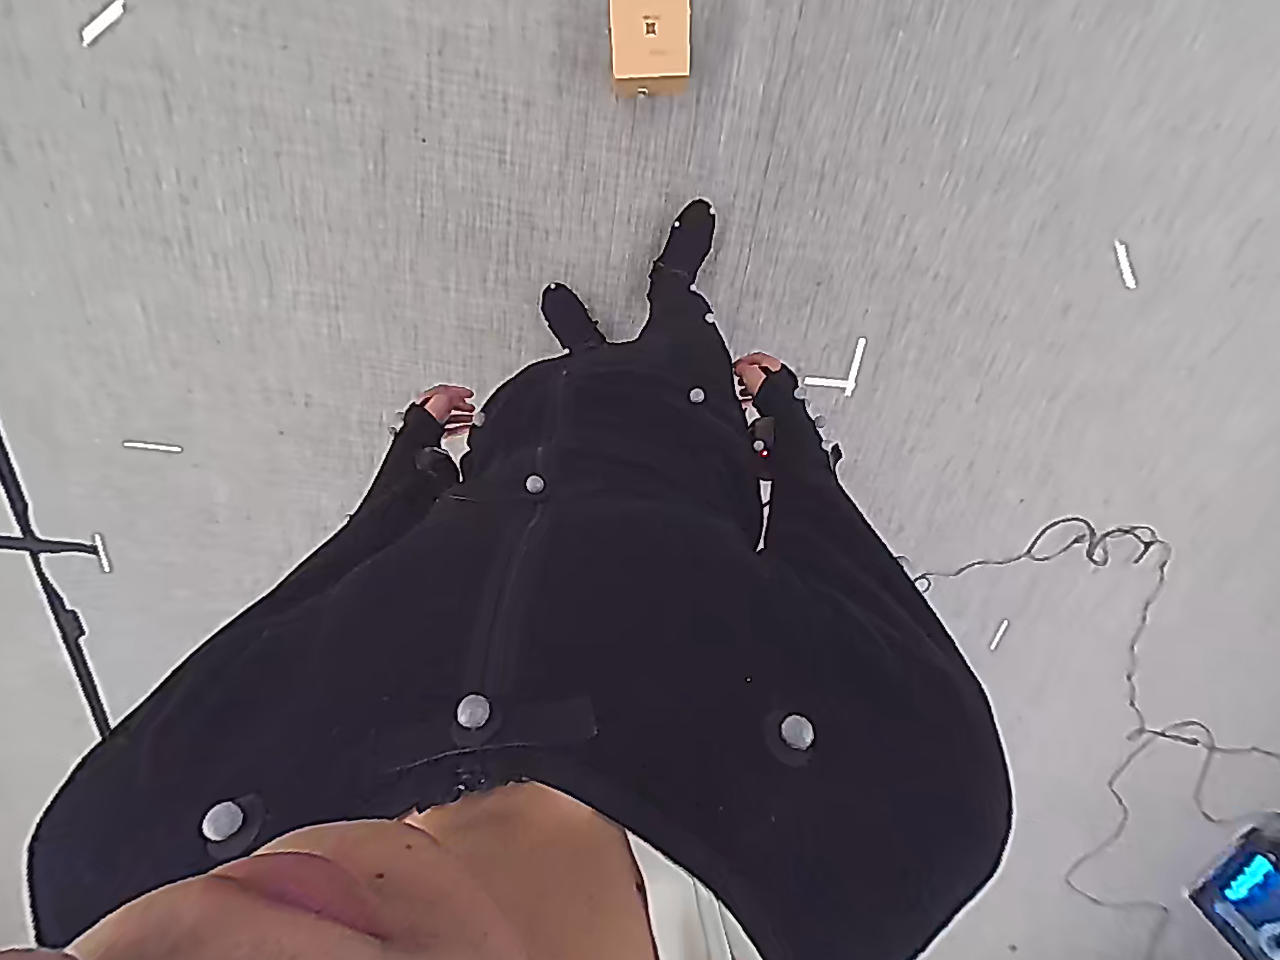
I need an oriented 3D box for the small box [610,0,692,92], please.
[{"bbox_3d":[0.021,-0.971,1.175,0.168,0.176,0.179,-3,115,-1],"label":"small box"}]
